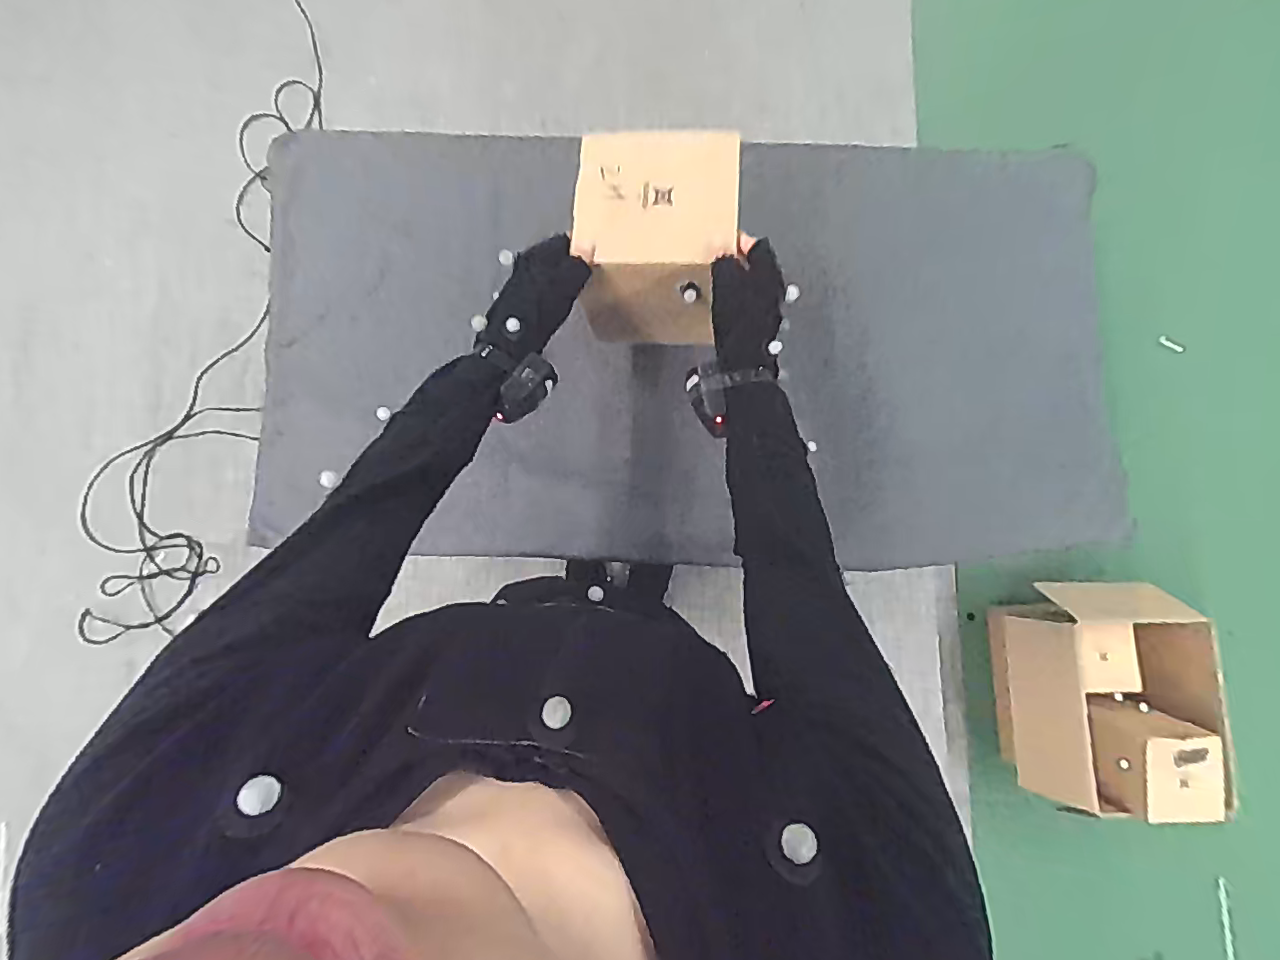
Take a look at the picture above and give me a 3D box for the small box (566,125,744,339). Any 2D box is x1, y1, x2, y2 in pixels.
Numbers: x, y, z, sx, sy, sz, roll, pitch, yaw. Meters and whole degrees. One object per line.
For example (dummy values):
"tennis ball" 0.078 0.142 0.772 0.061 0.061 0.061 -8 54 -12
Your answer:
"small box" 0.023 -0.279 0.636 0.179 0.176 0.168 3 77 7
